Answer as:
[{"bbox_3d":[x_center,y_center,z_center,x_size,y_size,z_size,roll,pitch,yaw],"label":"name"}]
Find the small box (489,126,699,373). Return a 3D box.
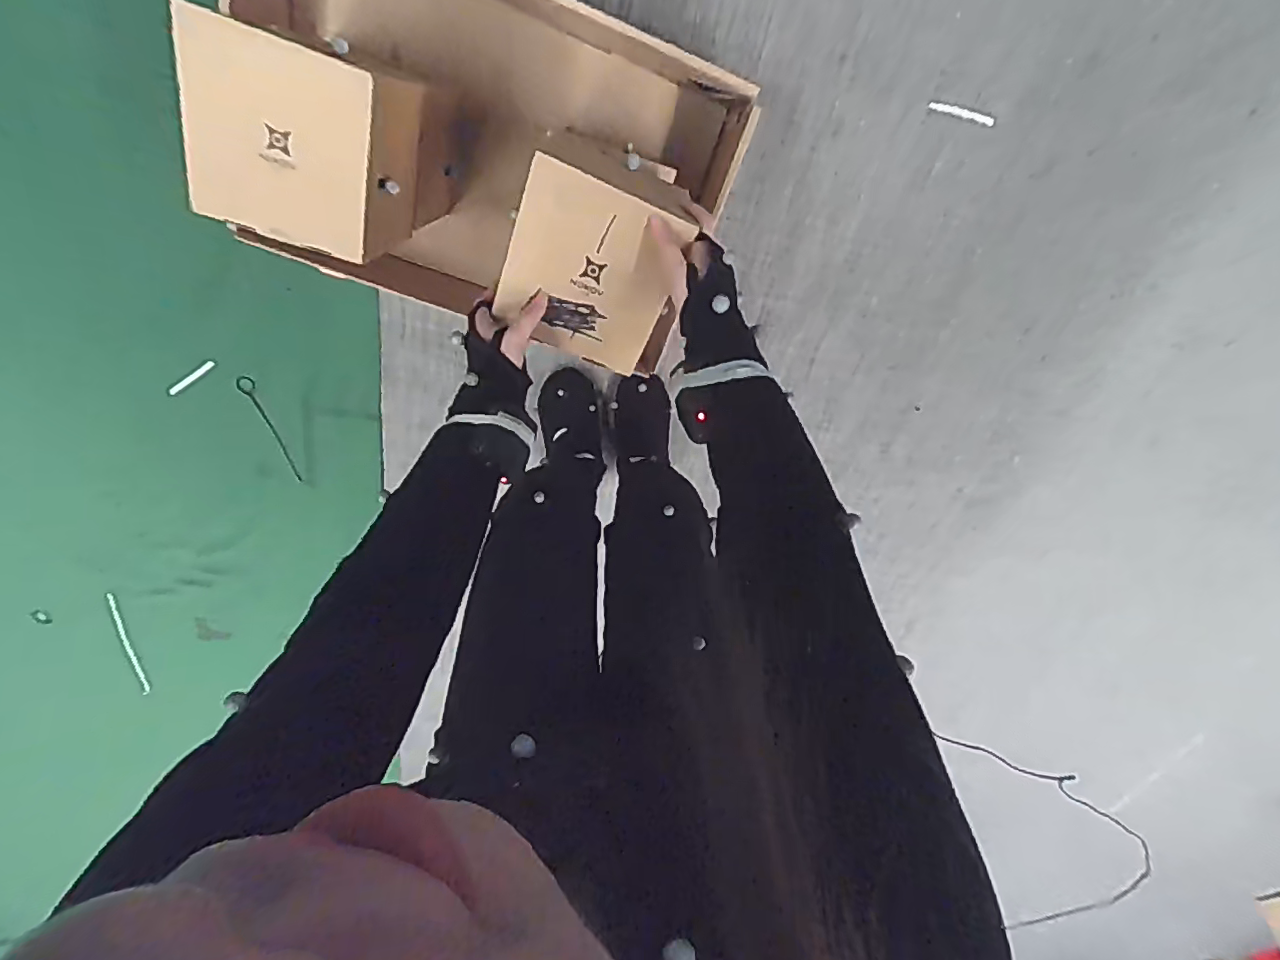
[{"bbox_3d":[-0.051,-0.257,0.603,0.168,0.176,0.179,19,126,-17],"label":"small box"}]

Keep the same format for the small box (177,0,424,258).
[{"bbox_3d":[-0.344,-0.370,0.578,0.168,0.176,0.179,16,123,-13],"label":"small box"}]
